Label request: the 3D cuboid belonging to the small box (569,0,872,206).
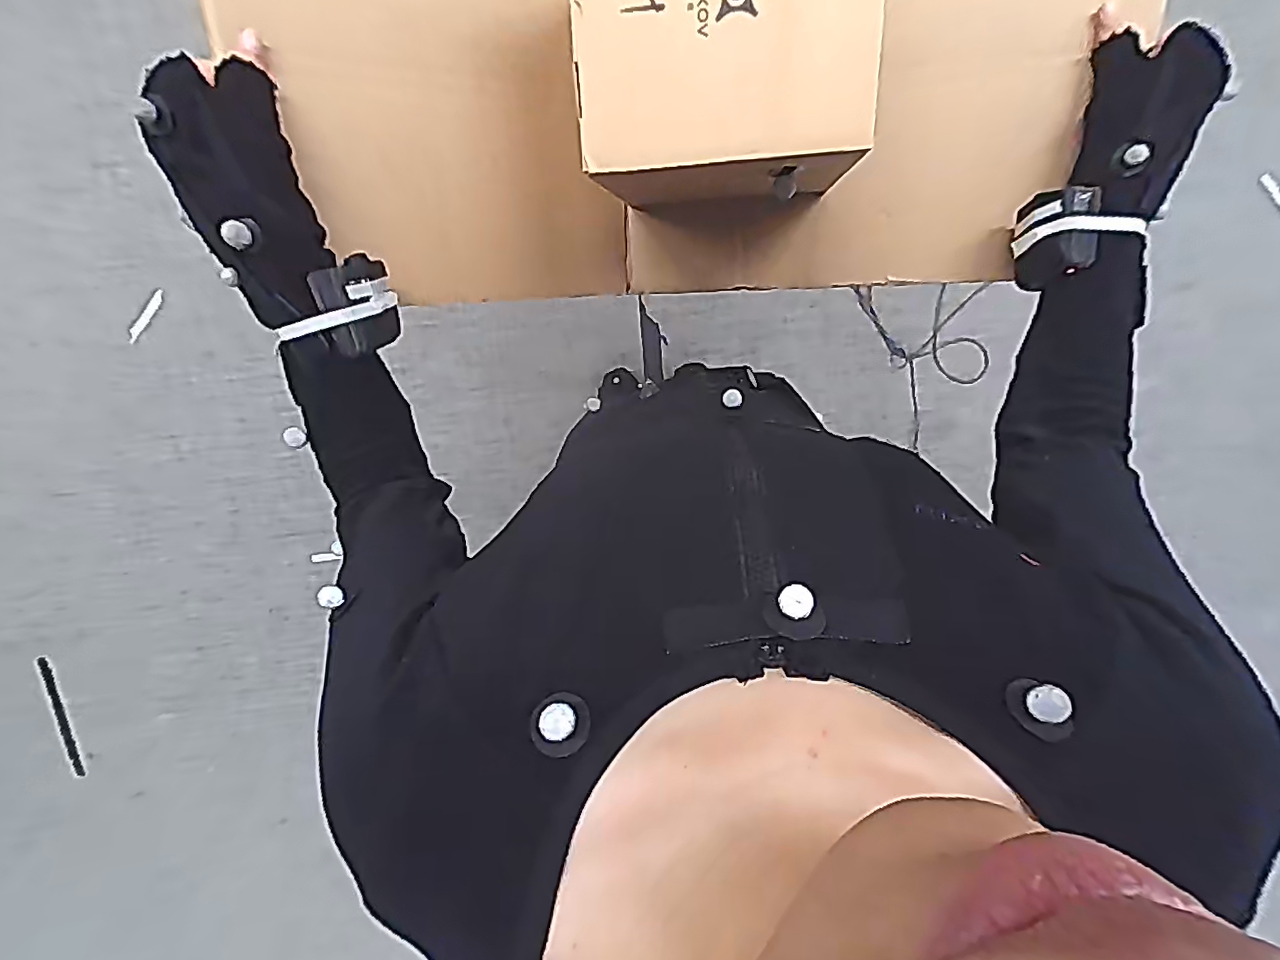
[{"bbox_3d":[0.056,-0.300,0.385,0.179,0.176,0.168,1,110,10],"label":"small box"}]
